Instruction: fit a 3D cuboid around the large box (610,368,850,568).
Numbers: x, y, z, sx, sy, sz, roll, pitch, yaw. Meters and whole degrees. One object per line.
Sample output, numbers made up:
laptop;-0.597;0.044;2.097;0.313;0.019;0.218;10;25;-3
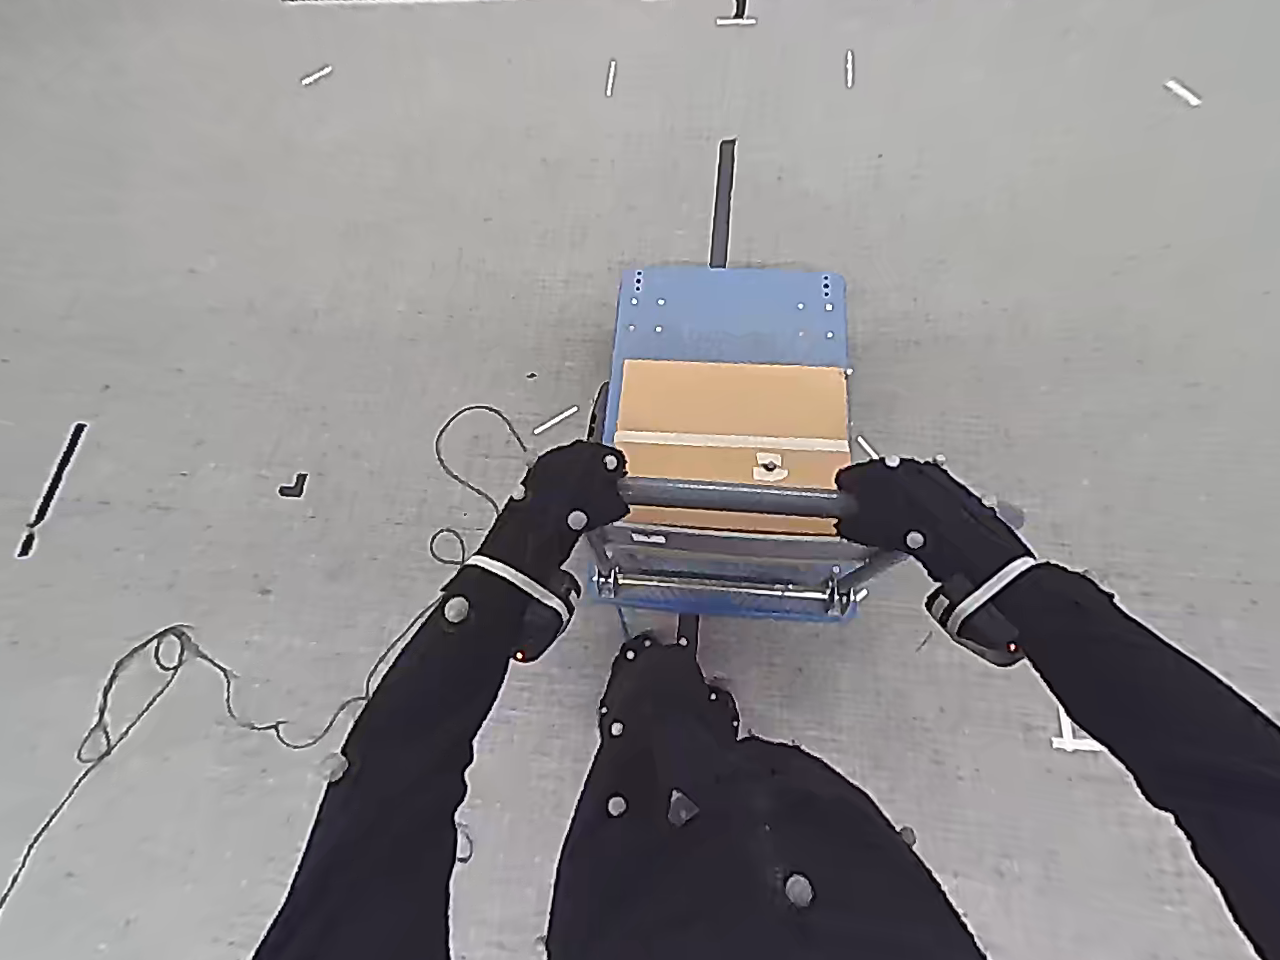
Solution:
large box;0.159;-0.007;1.079;0.408;0.320;0.320;3;73;4
